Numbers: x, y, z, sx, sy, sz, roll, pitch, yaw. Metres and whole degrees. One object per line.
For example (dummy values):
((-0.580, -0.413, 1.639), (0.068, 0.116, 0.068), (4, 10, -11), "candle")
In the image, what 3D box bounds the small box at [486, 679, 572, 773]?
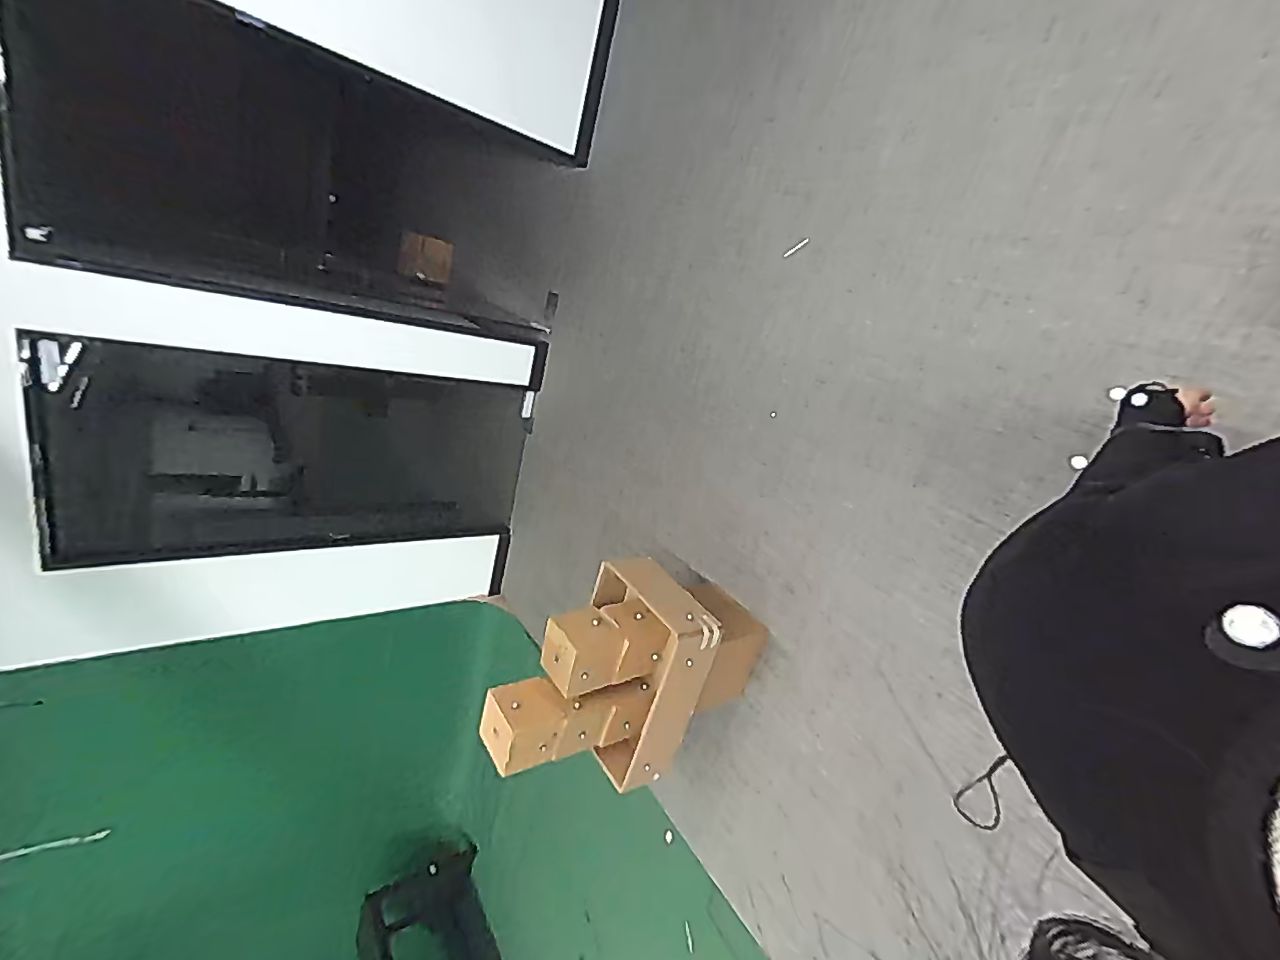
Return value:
((-0.324, 0.705, 1.574), (0.179, 0.176, 0.168), (35, 116, 45), "small box")
